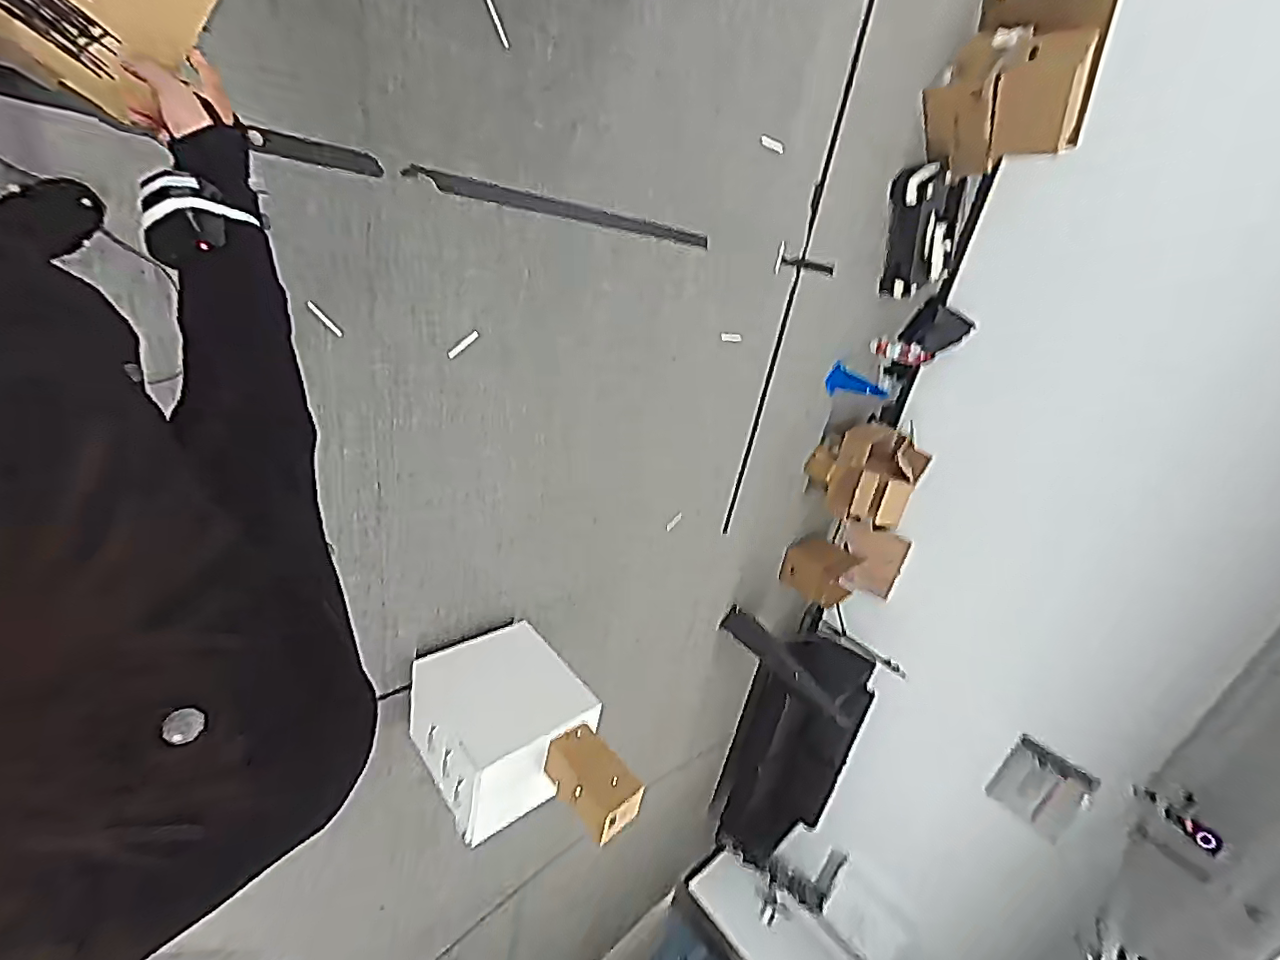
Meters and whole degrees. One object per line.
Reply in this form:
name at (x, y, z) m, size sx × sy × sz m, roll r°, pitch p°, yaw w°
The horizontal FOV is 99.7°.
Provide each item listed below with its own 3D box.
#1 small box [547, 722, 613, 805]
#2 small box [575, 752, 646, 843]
small box at (-0.222, 1.030, 1.977) m, size 0.168 × 0.176 × 0.179 m, roll -11°, pitch 123°, yaw -44°
small box at (-0.107, 1.098, 1.881) m, size 0.179 × 0.176 × 0.168 m, roll -16°, pitch 127°, yaw -43°
